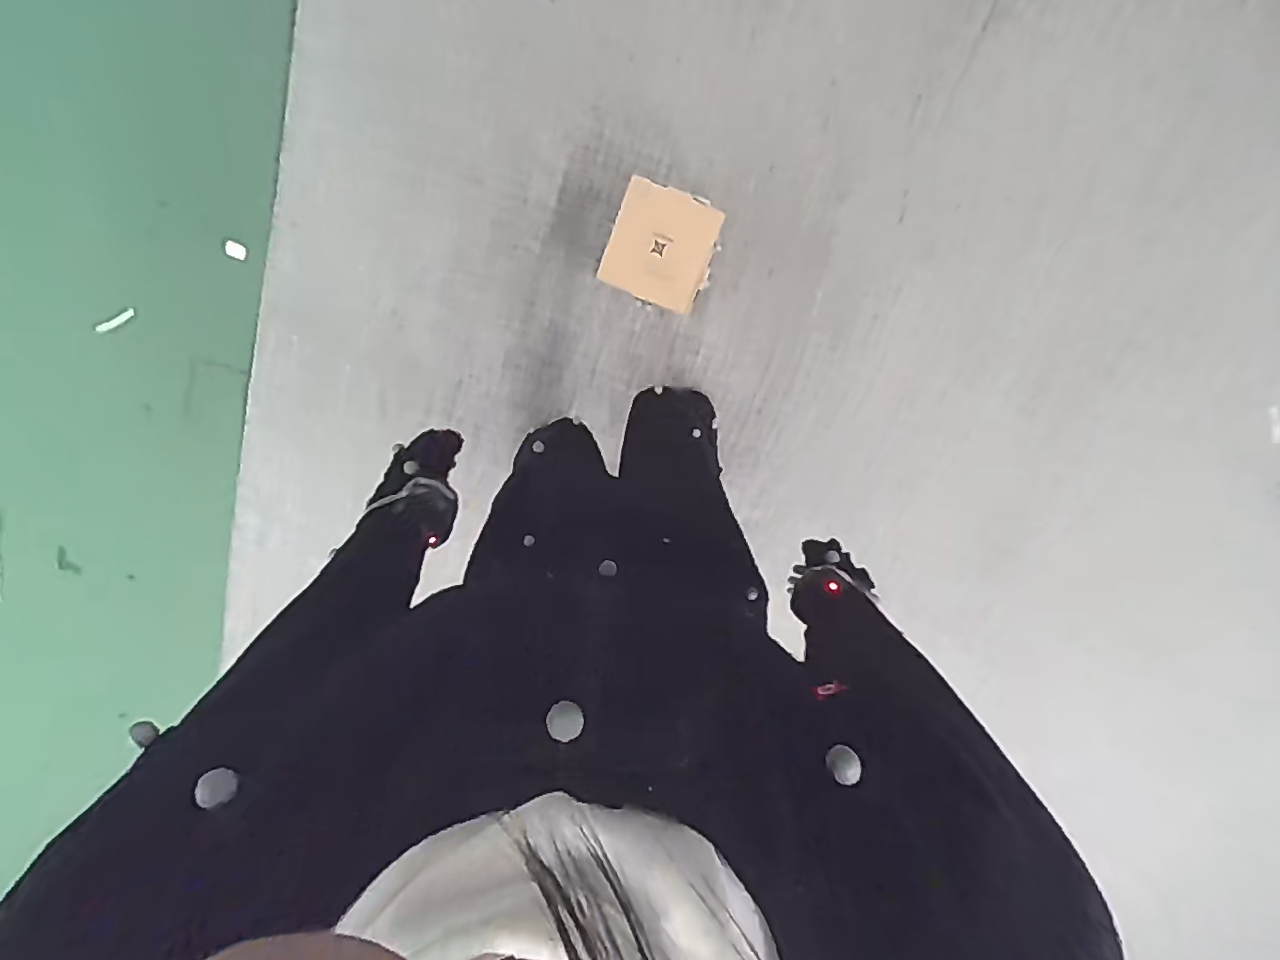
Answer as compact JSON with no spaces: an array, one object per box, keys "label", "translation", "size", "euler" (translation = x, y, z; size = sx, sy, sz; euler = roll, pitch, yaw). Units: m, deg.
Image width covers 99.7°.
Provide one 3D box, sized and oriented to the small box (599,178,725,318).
[{"label":"small box","translation":[0.042,-0.408,0.984],"size":[0.168,0.176,0.179],"euler":[22,107,0]}]
